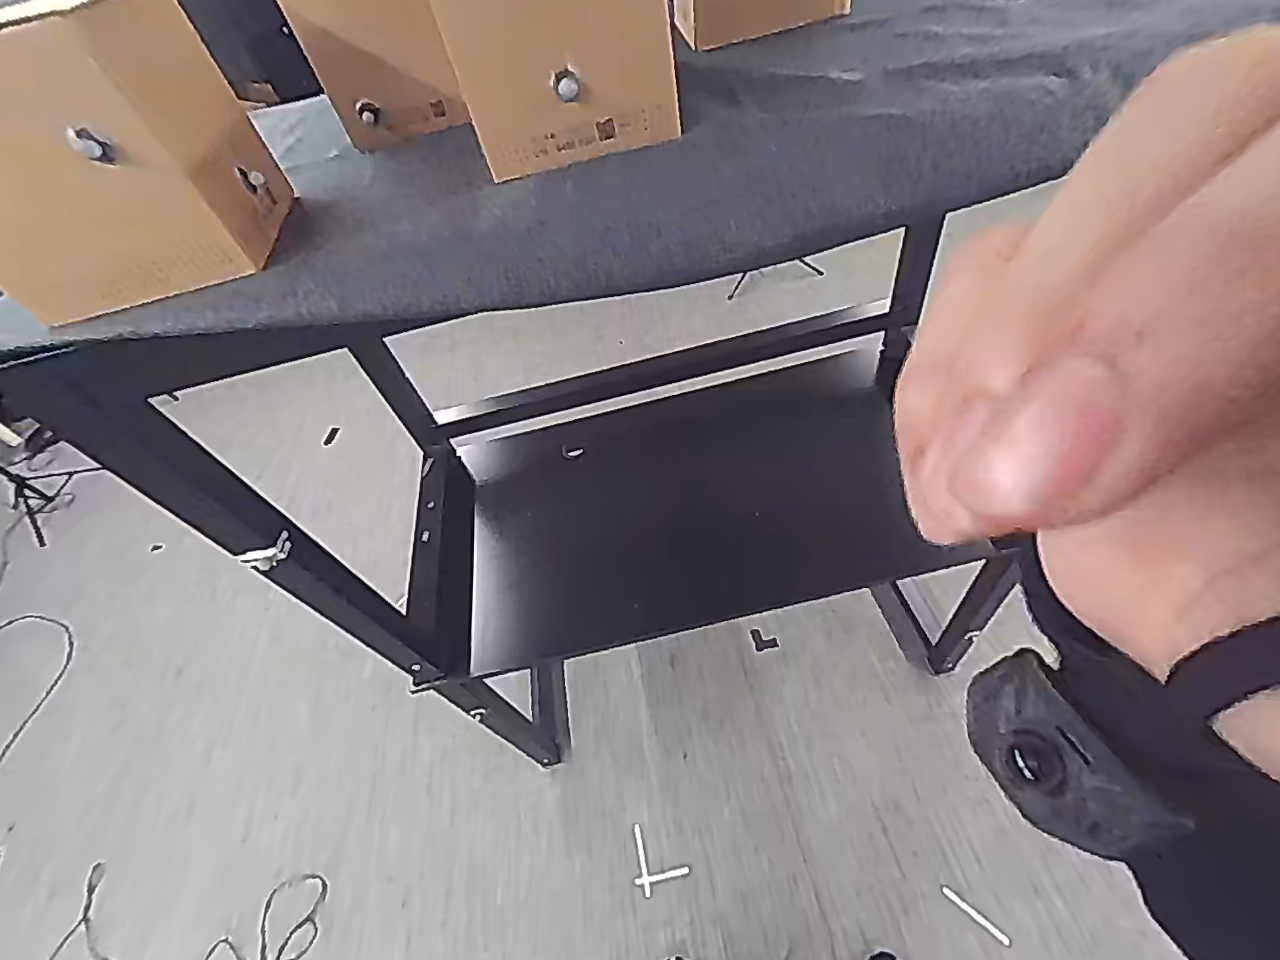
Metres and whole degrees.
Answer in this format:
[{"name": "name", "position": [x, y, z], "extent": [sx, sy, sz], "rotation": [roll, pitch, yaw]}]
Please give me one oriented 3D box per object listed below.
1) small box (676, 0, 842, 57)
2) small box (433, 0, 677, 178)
[{"name": "small box", "position": [0.127, -0.607, 0.597], "extent": [0.179, 0.176, 0.168], "rotation": [-12, 49, 5]}, {"name": "small box", "position": [-0.069, -0.384, 0.455], "extent": [0.168, 0.176, 0.179], "rotation": [-12, 49, 4]}]
